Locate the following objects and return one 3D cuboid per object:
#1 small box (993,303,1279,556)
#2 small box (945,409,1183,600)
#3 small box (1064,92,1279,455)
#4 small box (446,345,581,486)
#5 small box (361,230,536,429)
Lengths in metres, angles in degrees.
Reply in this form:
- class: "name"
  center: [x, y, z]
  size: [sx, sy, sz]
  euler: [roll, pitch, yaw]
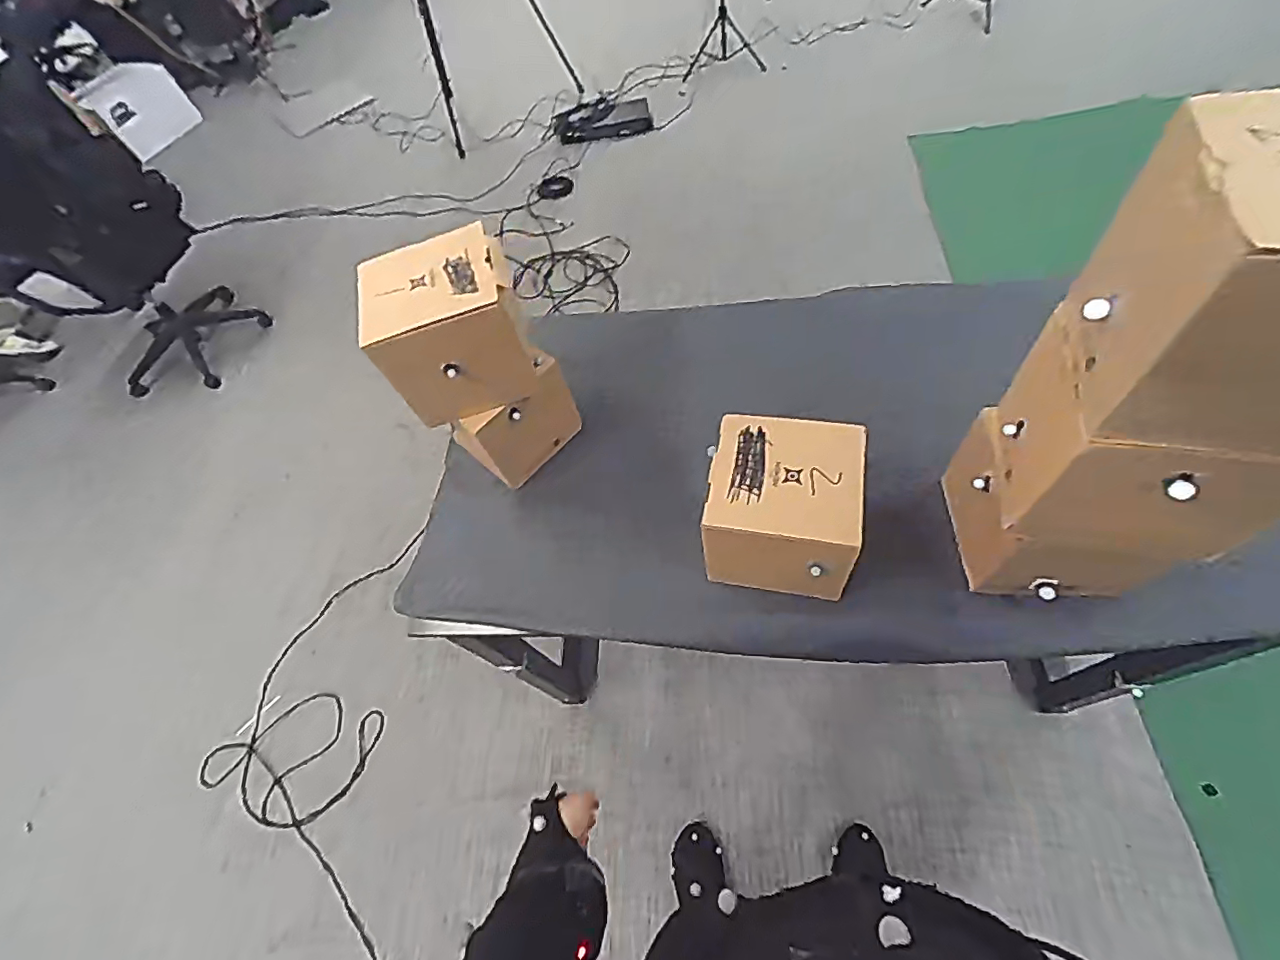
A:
- class: "small box"
  center: [0.460, -0.042, 0.504]
  size: [0.179, 0.176, 0.168]
  euler: [7, 60, 17]
- class: "small box"
  center: [0.489, 0.030, 0.647]
  size: [0.168, 0.176, 0.179]
  euler: [-3, 58, 11]
- class: "small box"
  center: [0.434, -0.131, 0.368]
  size: [0.179, 0.176, 0.168]
  euler: [8, 60, 18]
- class: "small box"
  center: [-0.224, -0.119, 0.884]
  size: [0.179, 0.176, 0.168]
  euler: [36, 72, 27]
- class: "small box"
  center: [-0.253, -0.199, 0.743]
  size: [0.179, 0.176, 0.168]
  euler: [-19, 58, 0]
